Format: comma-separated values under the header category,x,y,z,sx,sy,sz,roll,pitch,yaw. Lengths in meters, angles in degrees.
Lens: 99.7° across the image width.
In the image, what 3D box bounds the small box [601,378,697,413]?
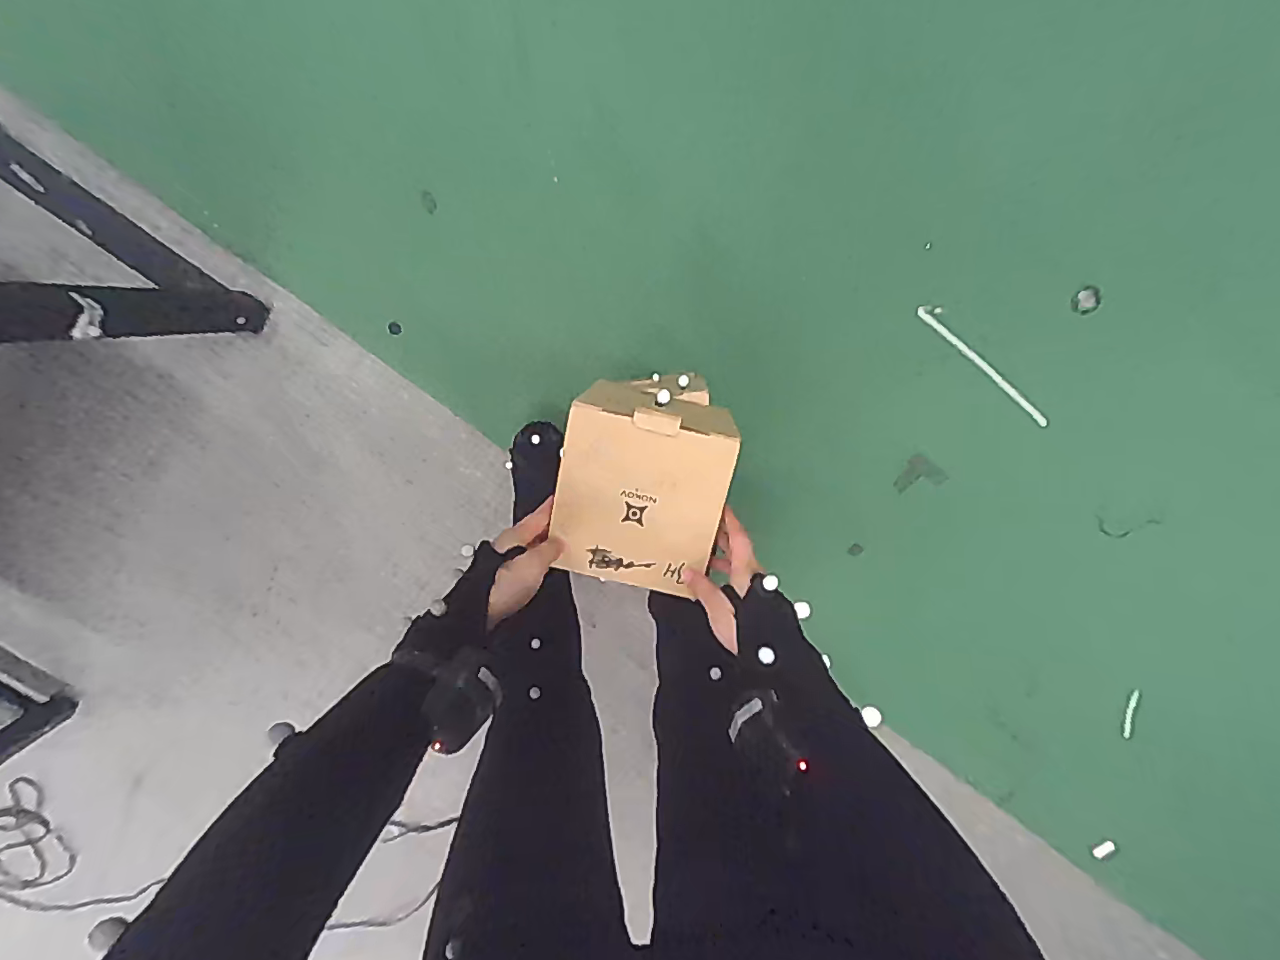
category,x,y,z,sx,sy,sz,roll,pitch,yaw
small box,0.017,-0.070,0.922,0.168,0.176,0.179,-5,106,5

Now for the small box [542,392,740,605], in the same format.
category,x,y,z,sx,sy,sz,roll,pitch,yaw
small box,0.001,0.008,0.602,0.168,0.176,0.179,13,107,1
